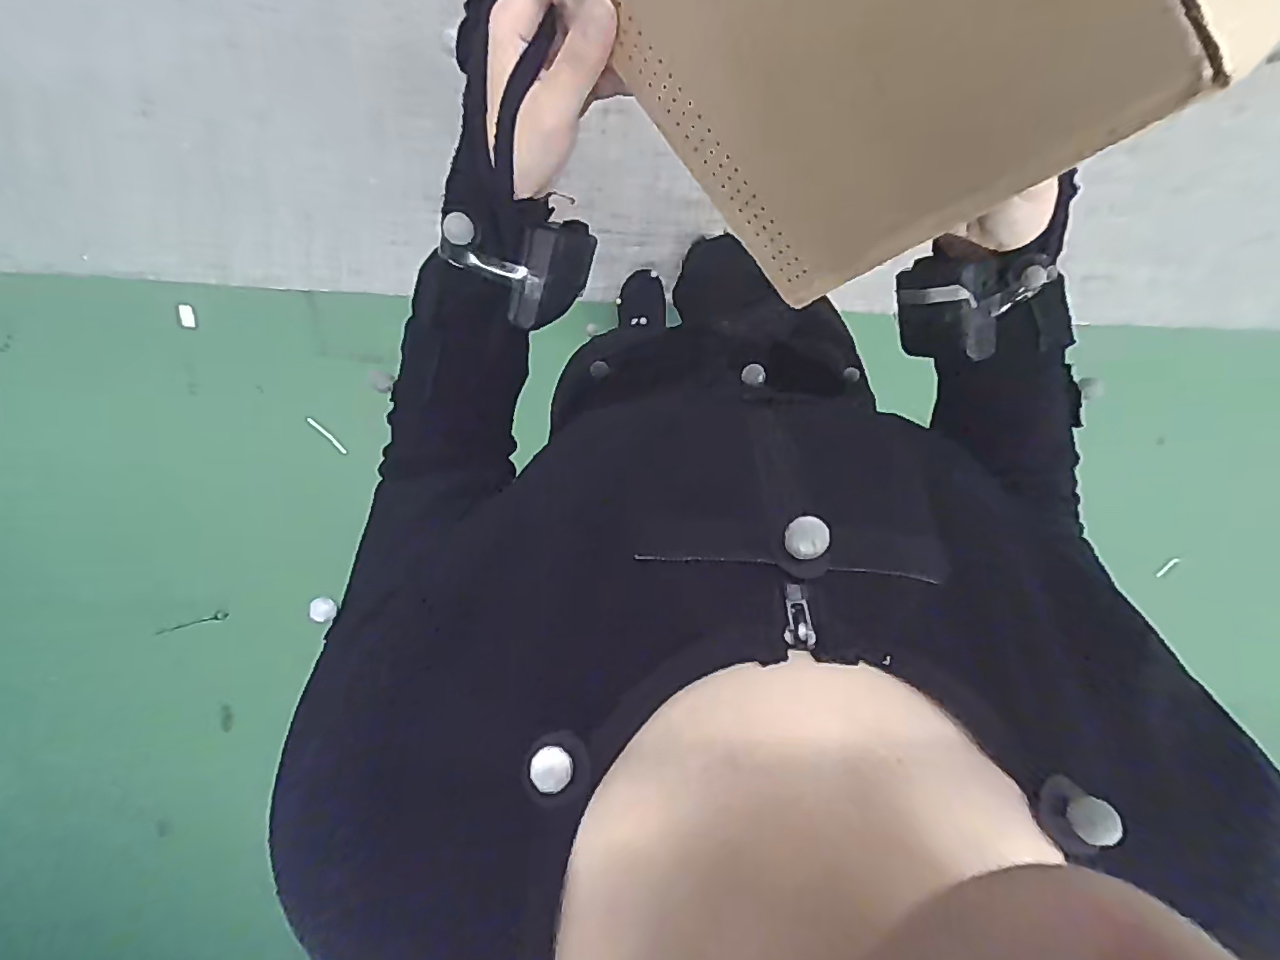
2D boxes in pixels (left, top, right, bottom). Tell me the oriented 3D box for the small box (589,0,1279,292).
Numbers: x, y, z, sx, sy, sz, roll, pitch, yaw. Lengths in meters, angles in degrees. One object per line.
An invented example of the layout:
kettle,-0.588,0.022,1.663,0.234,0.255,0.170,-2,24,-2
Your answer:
small box,0.100,-0.199,0.188,0.168,0.176,0.179,-43,101,-7
